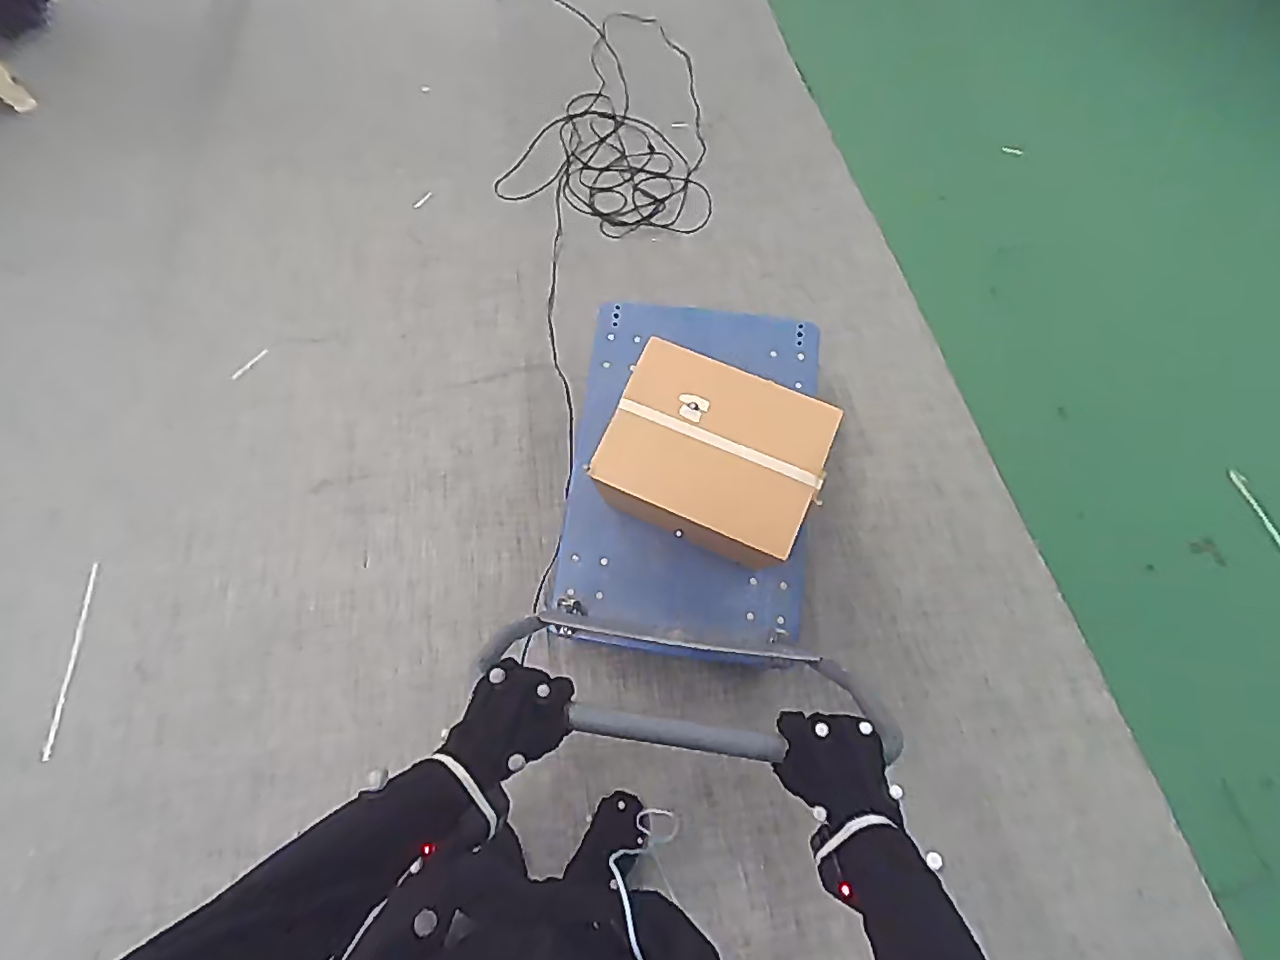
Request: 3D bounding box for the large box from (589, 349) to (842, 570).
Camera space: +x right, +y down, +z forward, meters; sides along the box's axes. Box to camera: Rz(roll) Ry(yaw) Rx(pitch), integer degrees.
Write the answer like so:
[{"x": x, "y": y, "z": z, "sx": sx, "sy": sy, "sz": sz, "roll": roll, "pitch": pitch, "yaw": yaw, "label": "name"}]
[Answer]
[{"x": 0.156, "y": -0.024, "z": 1.166, "sx": 0.408, "sy": 0.320, "sz": 0.320, "roll": 23, "pitch": 79, "yaw": 9, "label": "large box"}]
